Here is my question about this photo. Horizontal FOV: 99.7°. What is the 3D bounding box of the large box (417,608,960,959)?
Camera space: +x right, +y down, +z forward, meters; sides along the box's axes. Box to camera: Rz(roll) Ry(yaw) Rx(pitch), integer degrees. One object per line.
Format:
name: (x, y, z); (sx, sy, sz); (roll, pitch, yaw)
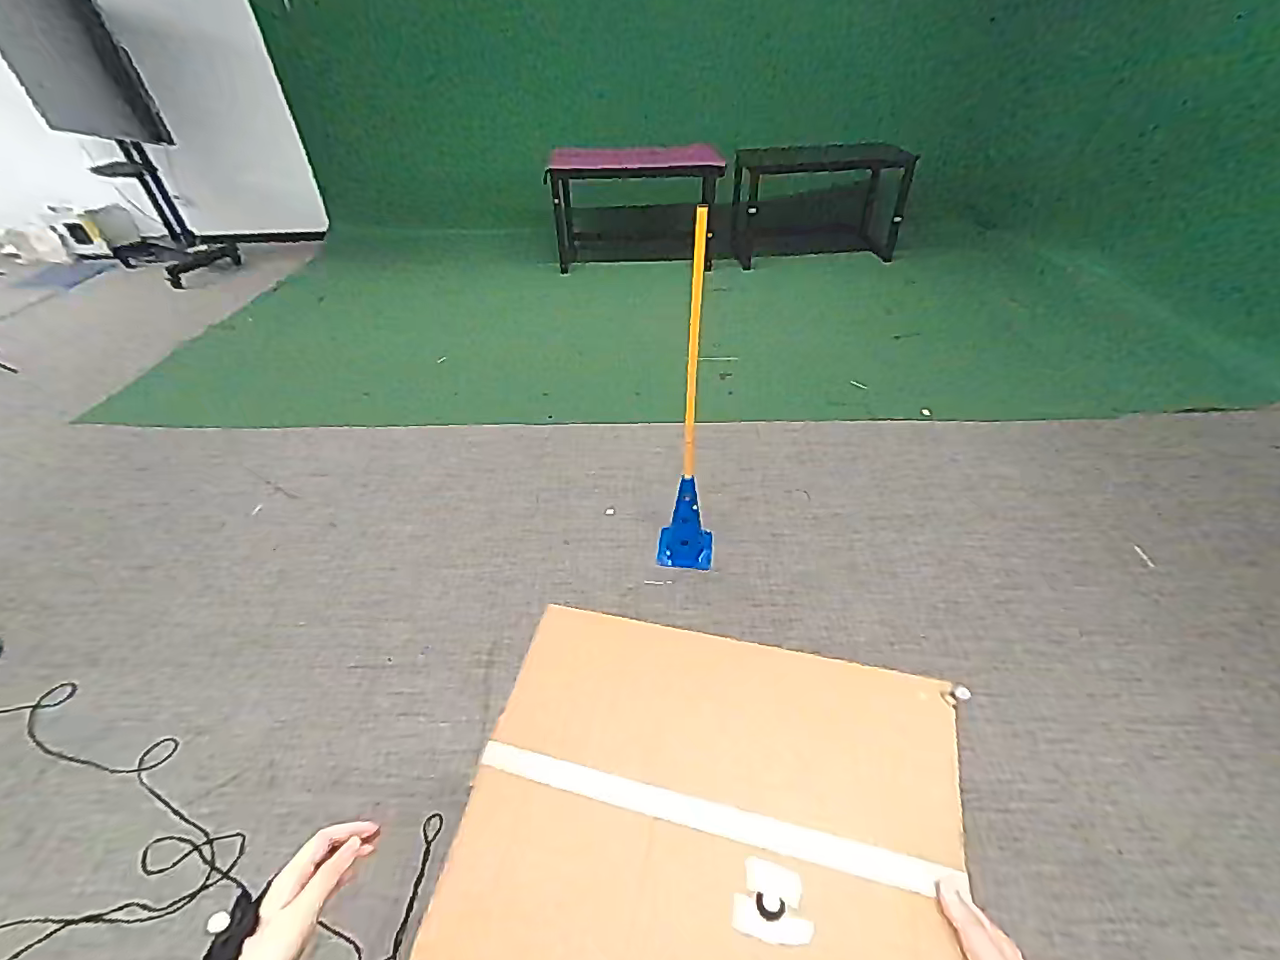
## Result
large box: (0.065, 0.370, 0.577); (0.408, 0.320, 0.320); (7, 54, 14)

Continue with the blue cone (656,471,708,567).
blue cone: (0.158, 0.129, 1.956); (0.193, 0.380, 0.192); (5, 40, 8)
